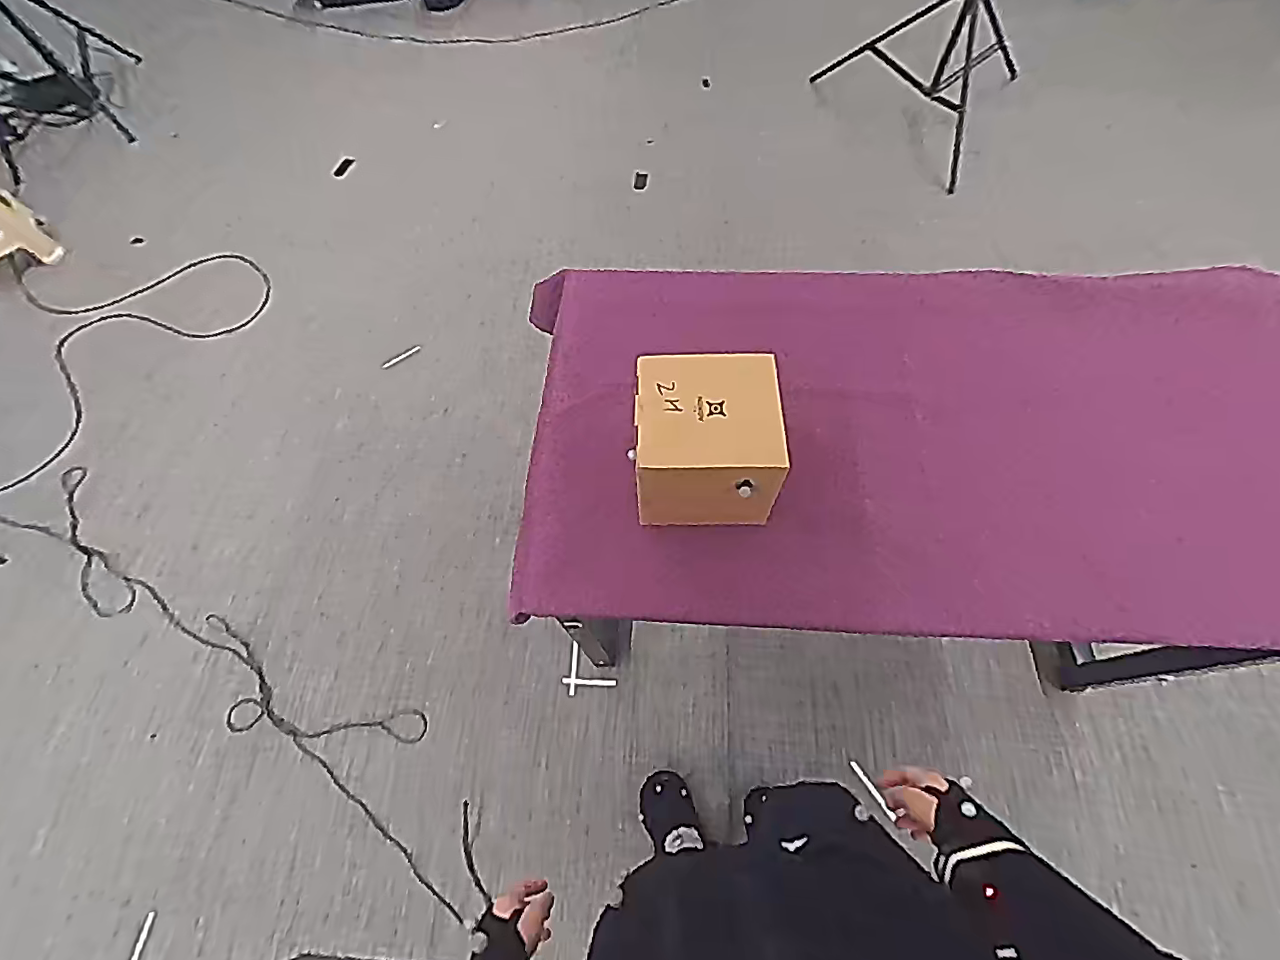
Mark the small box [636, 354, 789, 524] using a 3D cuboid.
[{"bbox_3d":[0.086,-0.048,0.716,0.179,0.176,0.168,-1,62,2],"label":"small box"}]
